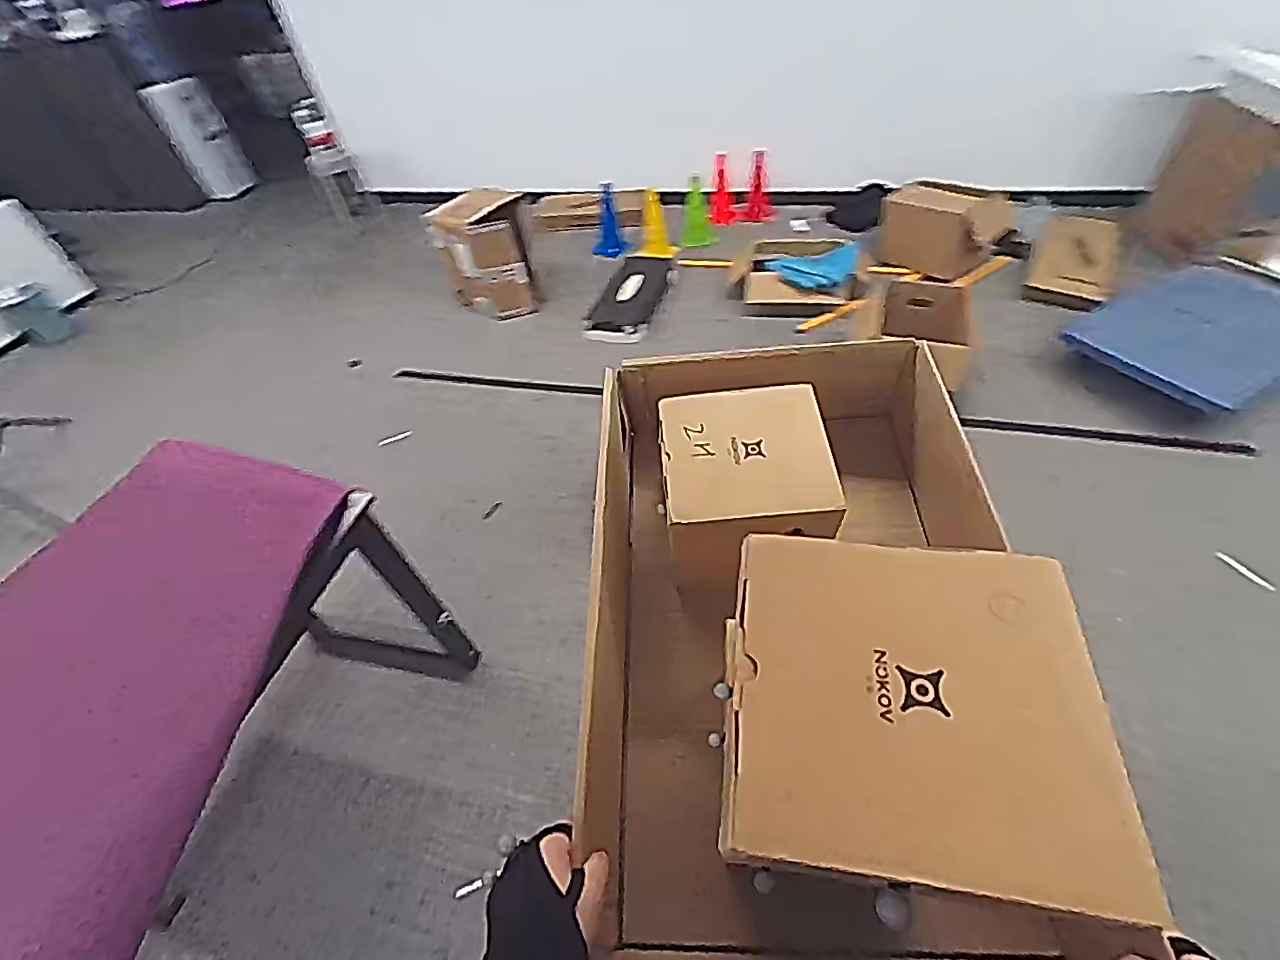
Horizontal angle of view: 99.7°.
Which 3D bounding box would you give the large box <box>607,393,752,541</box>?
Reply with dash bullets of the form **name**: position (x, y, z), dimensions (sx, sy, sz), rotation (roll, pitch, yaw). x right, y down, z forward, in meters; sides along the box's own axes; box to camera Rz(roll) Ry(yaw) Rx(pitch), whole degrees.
- **large box**: position (0.131, -0.041, 1.812), dimensions (0.408, 0.320, 0.320), rotation (-13, 47, -3)
